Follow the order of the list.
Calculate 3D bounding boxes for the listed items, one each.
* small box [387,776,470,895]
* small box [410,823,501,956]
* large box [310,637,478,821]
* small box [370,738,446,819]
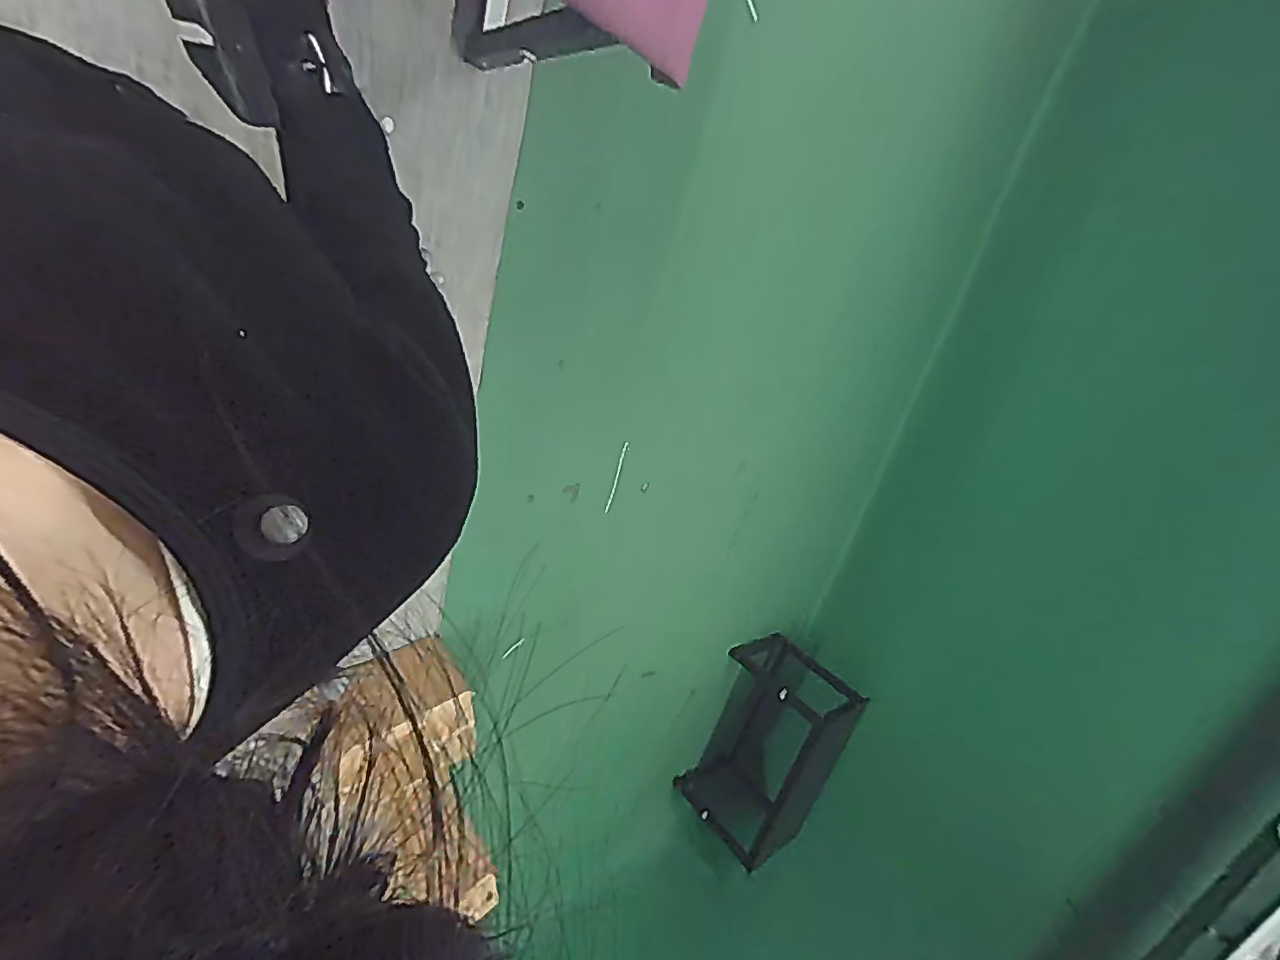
[{"bbox_3d":[-0.579,0.966,1.485,0.179,0.176,0.168,-19,126,-35],"label":"small box"},{"bbox_3d":[-0.473,1.035,1.378,0.179,0.176,0.168,-17,125,-35],"label":"small box"},{"bbox_3d":[-0.800,0.798,1.786,0.408,0.320,0.320,-19,127,-36],"label":"large box"},{"bbox_3d":[-0.679,0.897,1.594,0.168,0.176,0.179,-17,125,-36],"label":"small box"}]
